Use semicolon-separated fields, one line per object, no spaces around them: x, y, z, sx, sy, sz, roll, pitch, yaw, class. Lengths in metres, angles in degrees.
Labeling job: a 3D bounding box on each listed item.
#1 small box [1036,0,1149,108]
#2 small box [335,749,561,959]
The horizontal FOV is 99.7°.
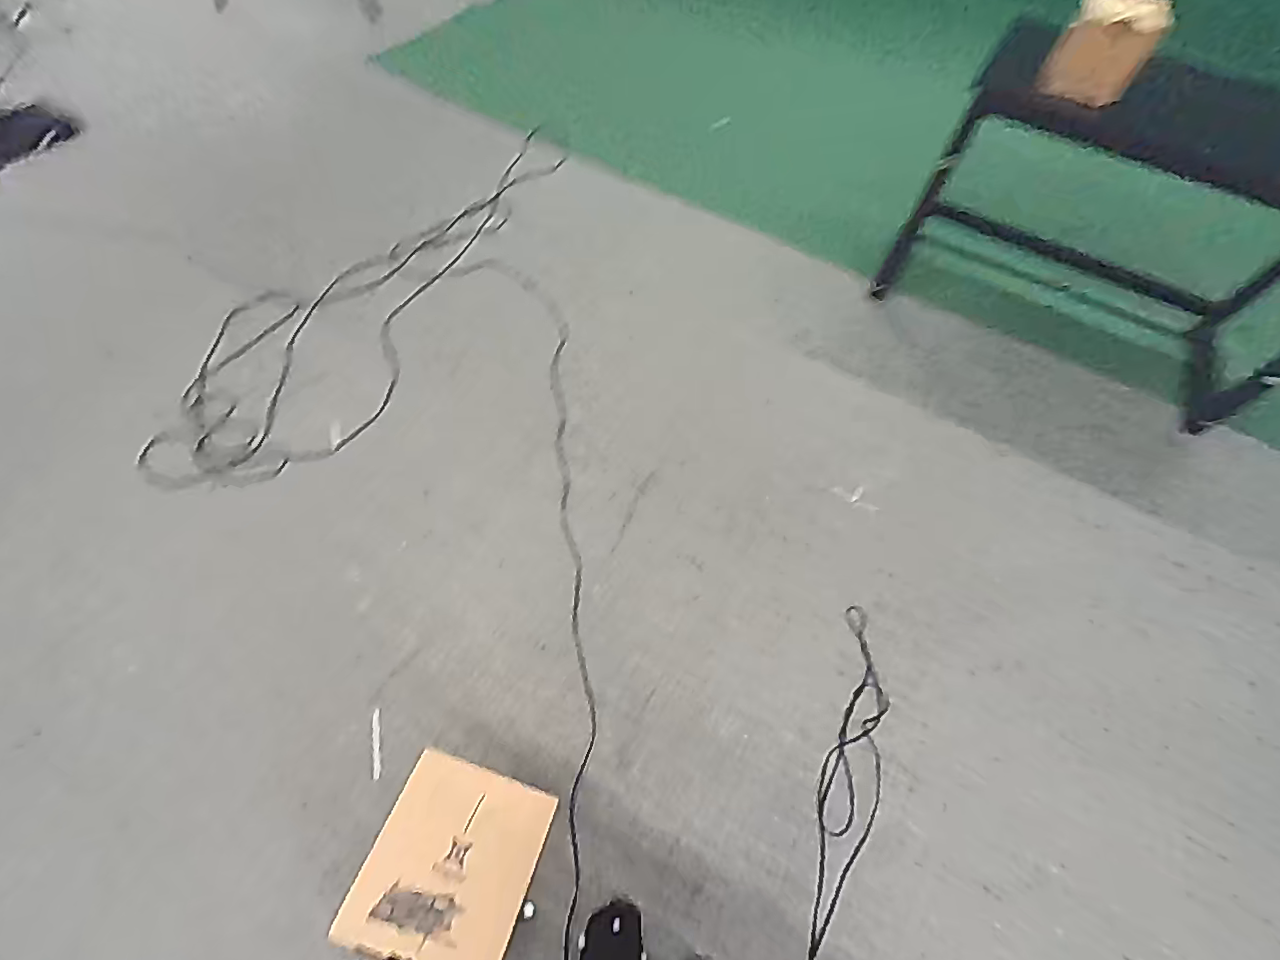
1.198;-1.138;1.444;0.168;0.176;0.179;22;61;8;small box
-0.199;0.443;0.617;0.168;0.176;0.179;19;51;4;small box
